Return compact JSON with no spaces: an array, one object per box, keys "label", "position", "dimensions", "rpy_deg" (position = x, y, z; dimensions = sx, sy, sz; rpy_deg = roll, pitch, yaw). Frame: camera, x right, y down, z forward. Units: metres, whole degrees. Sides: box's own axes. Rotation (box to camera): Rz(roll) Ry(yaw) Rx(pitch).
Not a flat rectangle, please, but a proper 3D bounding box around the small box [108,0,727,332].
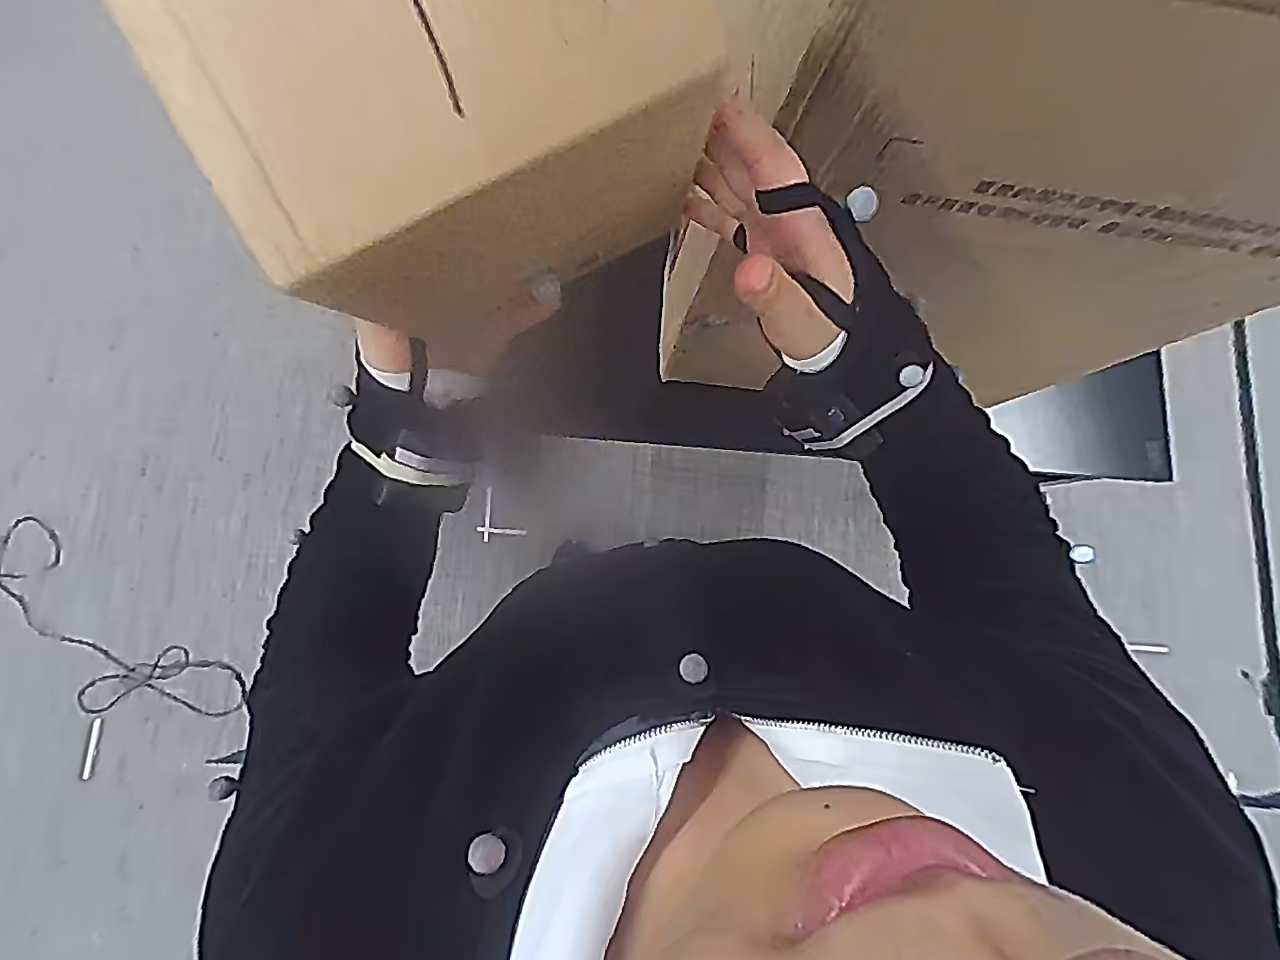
[{"label":"small box","position":[-0.084,-0.186,0.236],"dimensions":[0.168,0.176,0.179],"rpy_deg":[-27,98,3]}]
